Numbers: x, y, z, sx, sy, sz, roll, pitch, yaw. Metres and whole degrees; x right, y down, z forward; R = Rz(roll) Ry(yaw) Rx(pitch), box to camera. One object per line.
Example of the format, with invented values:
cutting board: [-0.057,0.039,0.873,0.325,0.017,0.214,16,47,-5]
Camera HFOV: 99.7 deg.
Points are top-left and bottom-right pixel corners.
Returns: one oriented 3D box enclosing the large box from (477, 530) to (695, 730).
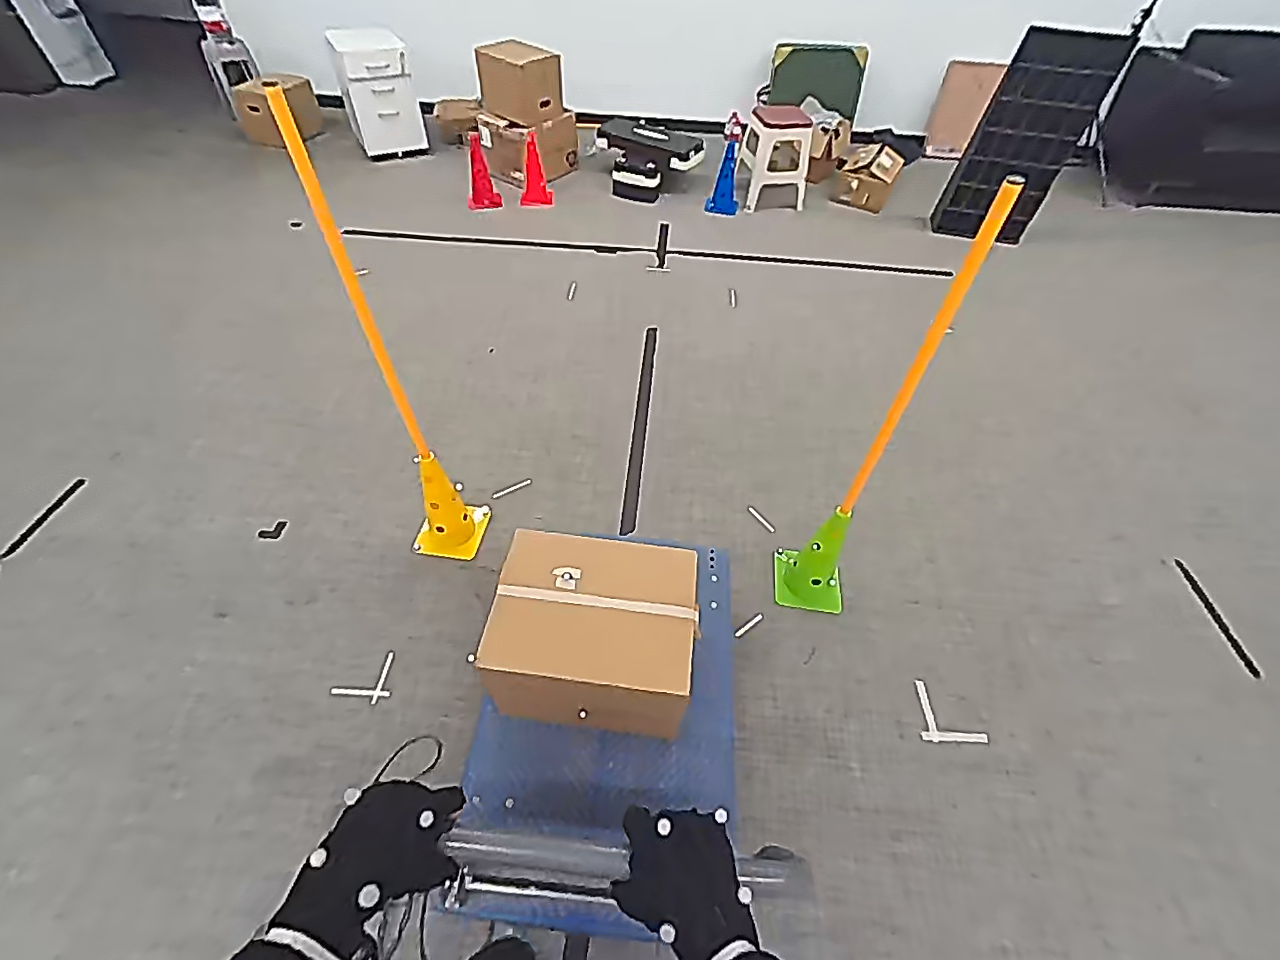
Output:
large box: [-0.095,0.340,1.208,0.408,0.320,0.320,7,50,3]

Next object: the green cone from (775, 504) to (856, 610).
green cone: [0.531,0.194,1.553,0.202,0.368,0.200,9,50,3]
